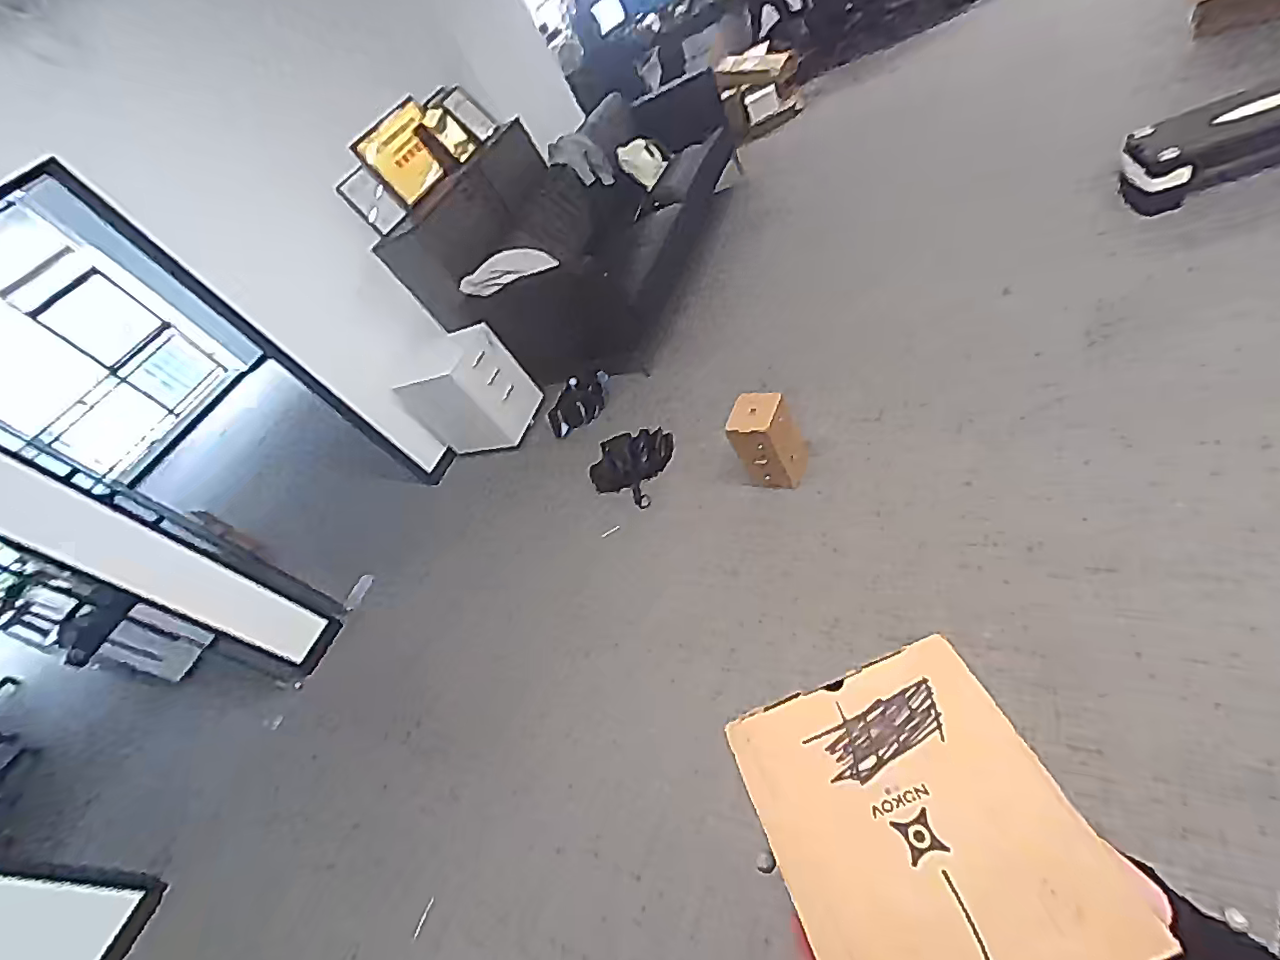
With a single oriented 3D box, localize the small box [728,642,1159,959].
[{"bbox_3d":[0.175,0.249,0.380,0.168,0.176,0.179,-22,50,0],"label":"small box"}]
